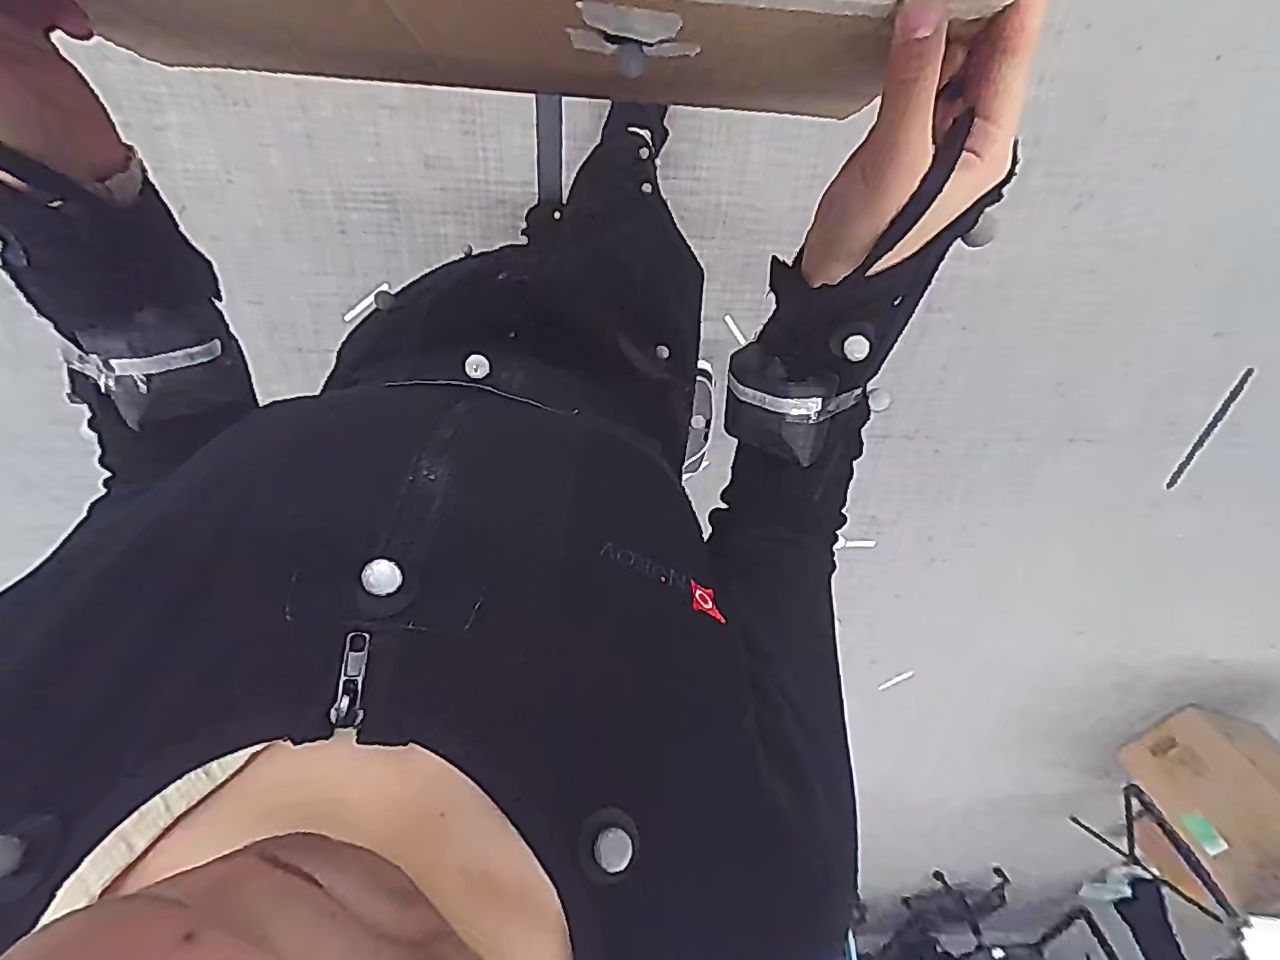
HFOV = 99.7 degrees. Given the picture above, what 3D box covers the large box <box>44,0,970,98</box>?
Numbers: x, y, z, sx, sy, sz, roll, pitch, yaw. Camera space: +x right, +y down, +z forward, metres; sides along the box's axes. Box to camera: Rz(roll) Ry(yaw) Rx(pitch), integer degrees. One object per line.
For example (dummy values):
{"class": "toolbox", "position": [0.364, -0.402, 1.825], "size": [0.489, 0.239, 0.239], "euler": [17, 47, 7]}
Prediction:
{"class": "large box", "position": [-0.062, -0.331, 0.132], "size": [0.408, 0.320, 0.320], "euler": [1, 111, -3]}
